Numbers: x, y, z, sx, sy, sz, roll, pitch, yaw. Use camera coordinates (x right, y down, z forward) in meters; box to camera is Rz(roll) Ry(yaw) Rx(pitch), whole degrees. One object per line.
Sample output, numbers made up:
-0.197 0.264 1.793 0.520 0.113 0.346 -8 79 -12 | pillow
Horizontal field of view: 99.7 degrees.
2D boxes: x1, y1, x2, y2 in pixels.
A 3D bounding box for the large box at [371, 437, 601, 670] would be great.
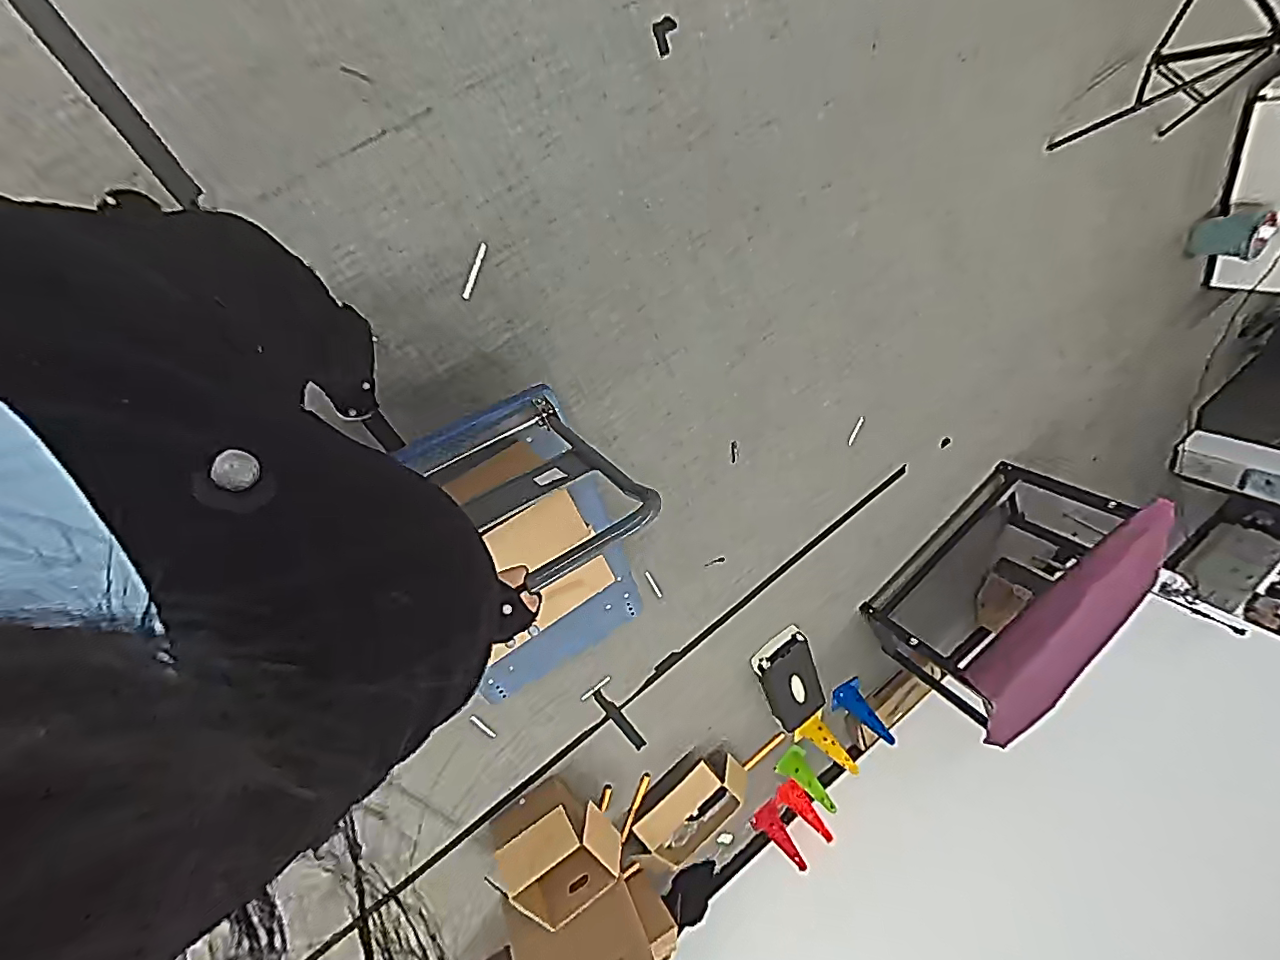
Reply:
-0.371 0.160 1.312 0.408 0.320 0.320 -32 125 -13 | large box
